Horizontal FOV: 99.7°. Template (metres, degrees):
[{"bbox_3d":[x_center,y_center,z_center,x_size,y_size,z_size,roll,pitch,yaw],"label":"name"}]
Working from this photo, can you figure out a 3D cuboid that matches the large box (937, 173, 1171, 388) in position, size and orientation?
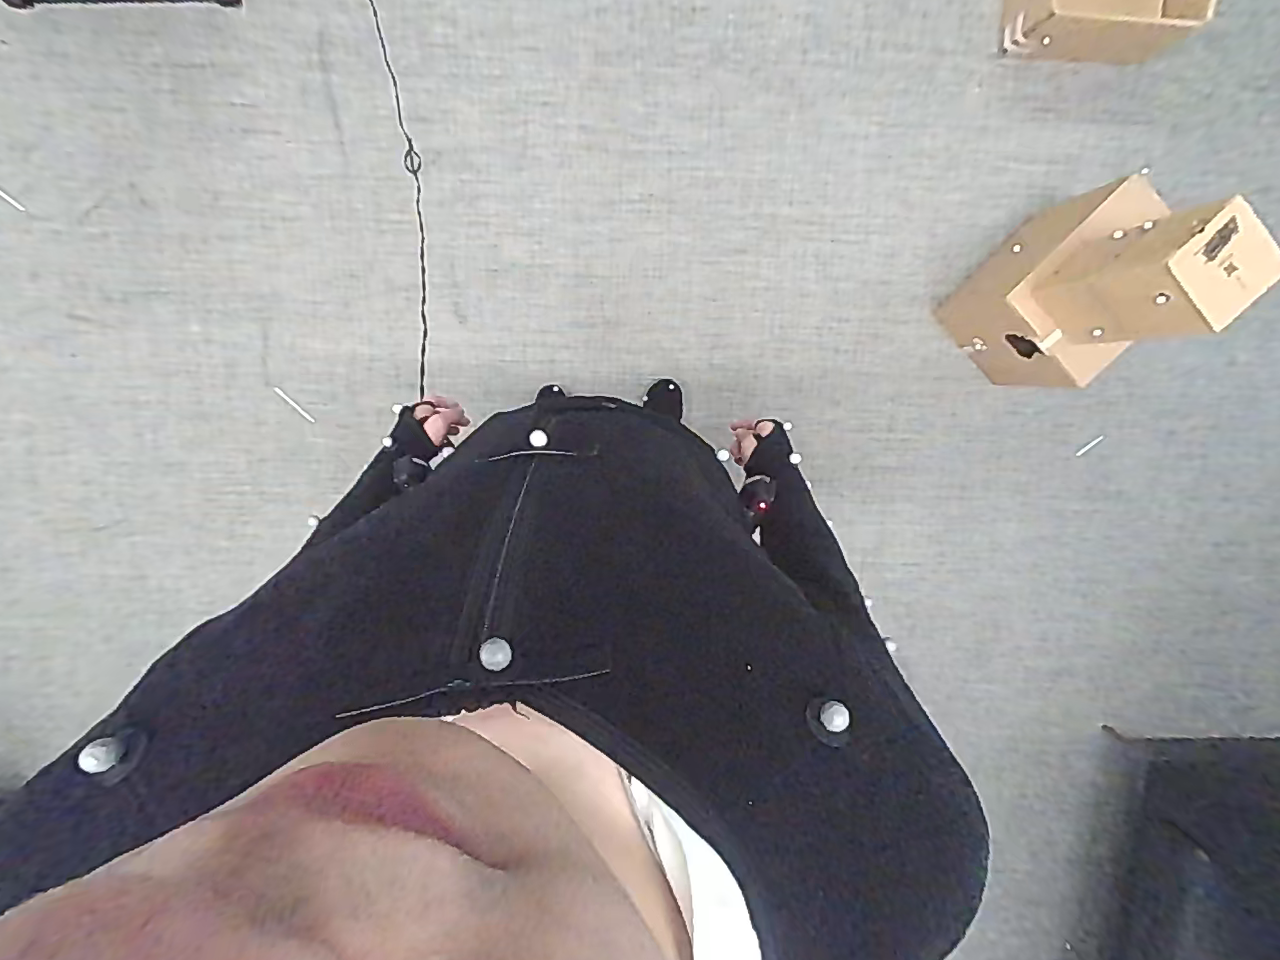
[{"bbox_3d":[1.109,-0.493,1.439,0.320,0.320,0.408,43,95,-9],"label":"large box"}]

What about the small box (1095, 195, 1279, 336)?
[{"bbox_3d":[1.045,-0.395,1.038,0.168,0.176,0.179,-44,99,6],"label":"small box"}]
